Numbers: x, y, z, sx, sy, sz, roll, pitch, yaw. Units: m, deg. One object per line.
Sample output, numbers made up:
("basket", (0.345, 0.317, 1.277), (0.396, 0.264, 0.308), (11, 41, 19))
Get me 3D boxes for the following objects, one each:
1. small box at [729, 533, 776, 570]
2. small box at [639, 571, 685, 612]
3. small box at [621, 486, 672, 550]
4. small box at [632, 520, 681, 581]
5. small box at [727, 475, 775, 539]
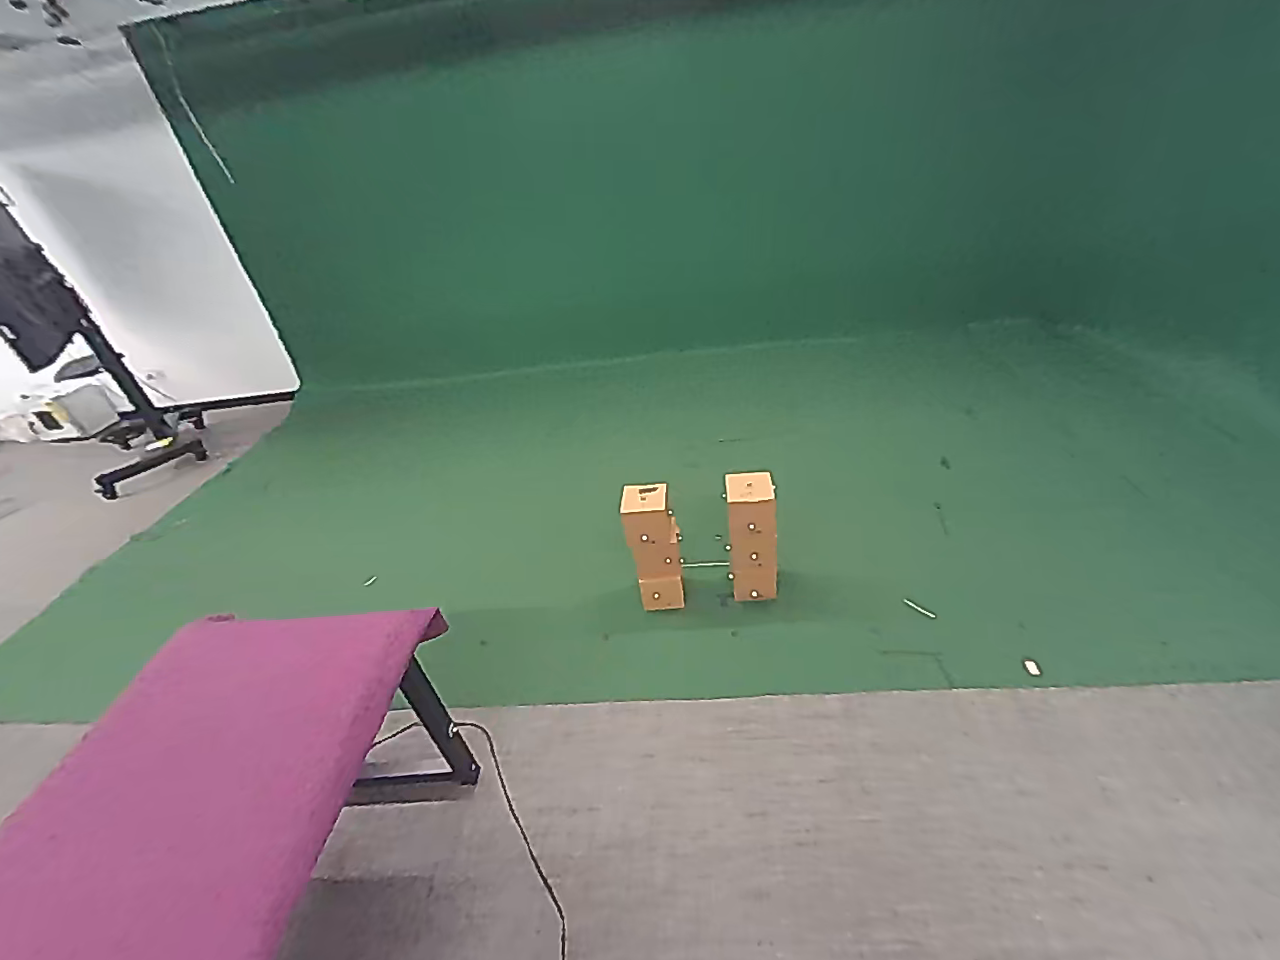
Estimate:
("small box", (0.433, 0.236, 2.091), (0.168, 0.176, 0.179), (-4, 35, 7))
("small box", (0.090, 0.421, 2.201), (0.168, 0.176, 0.179), (-7, 33, 5))
("small box", (0.028, 0.144, 2.039), (0.168, 0.176, 0.179), (-5, 33, 8))
("small box", (0.068, 0.279, 2.125), (0.179, 0.176, 0.168), (-7, 32, 5))
("small box", (0.408, 0.100, 2.001), (0.168, 0.176, 0.179), (-4, 35, 8))
